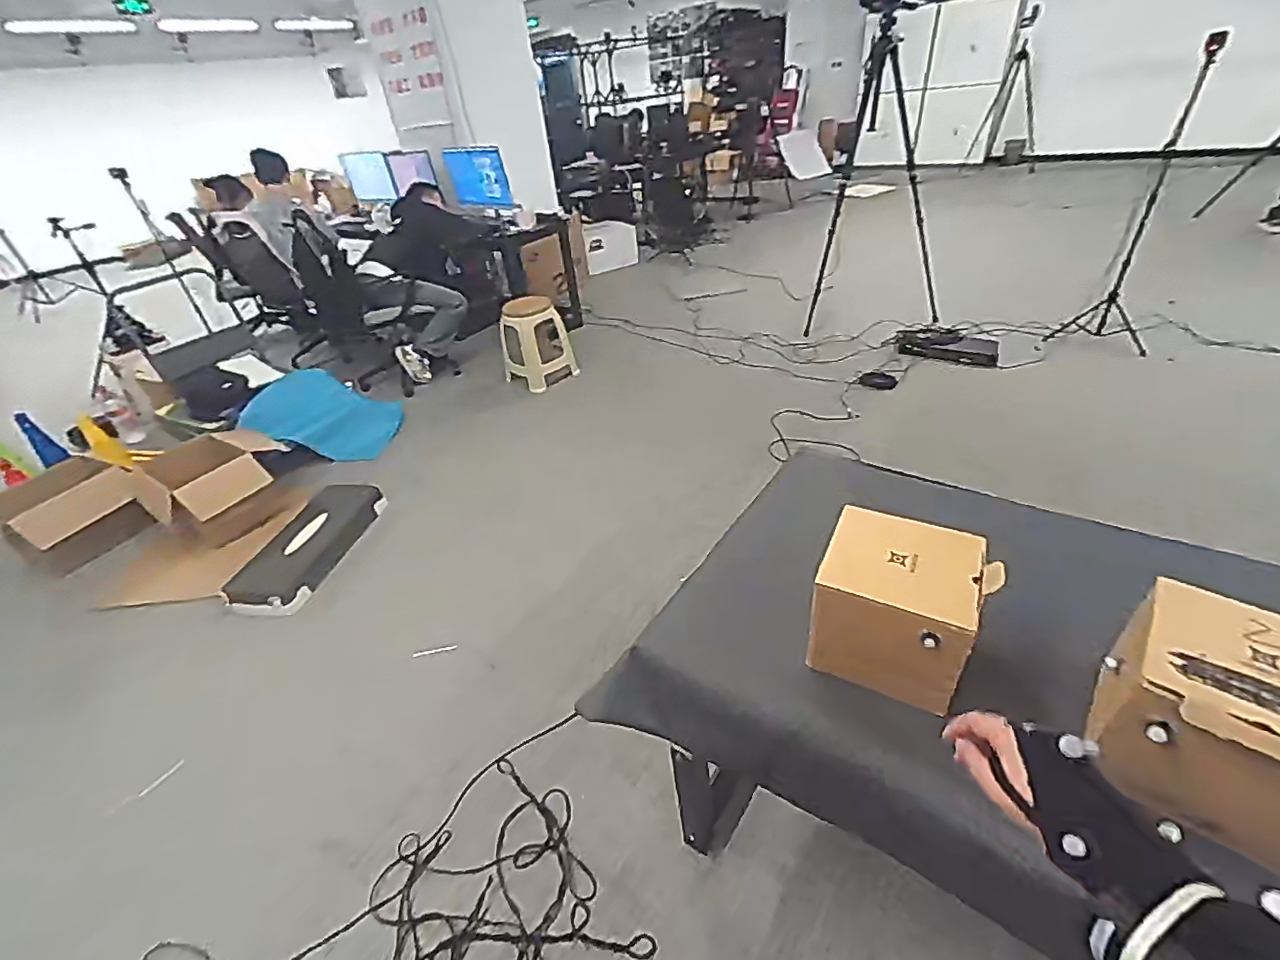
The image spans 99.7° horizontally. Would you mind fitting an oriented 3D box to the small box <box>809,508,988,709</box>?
[{"bbox_3d":[0.335,0.167,0.717,0.179,0.176,0.168,15,41,26],"label":"small box"}]
